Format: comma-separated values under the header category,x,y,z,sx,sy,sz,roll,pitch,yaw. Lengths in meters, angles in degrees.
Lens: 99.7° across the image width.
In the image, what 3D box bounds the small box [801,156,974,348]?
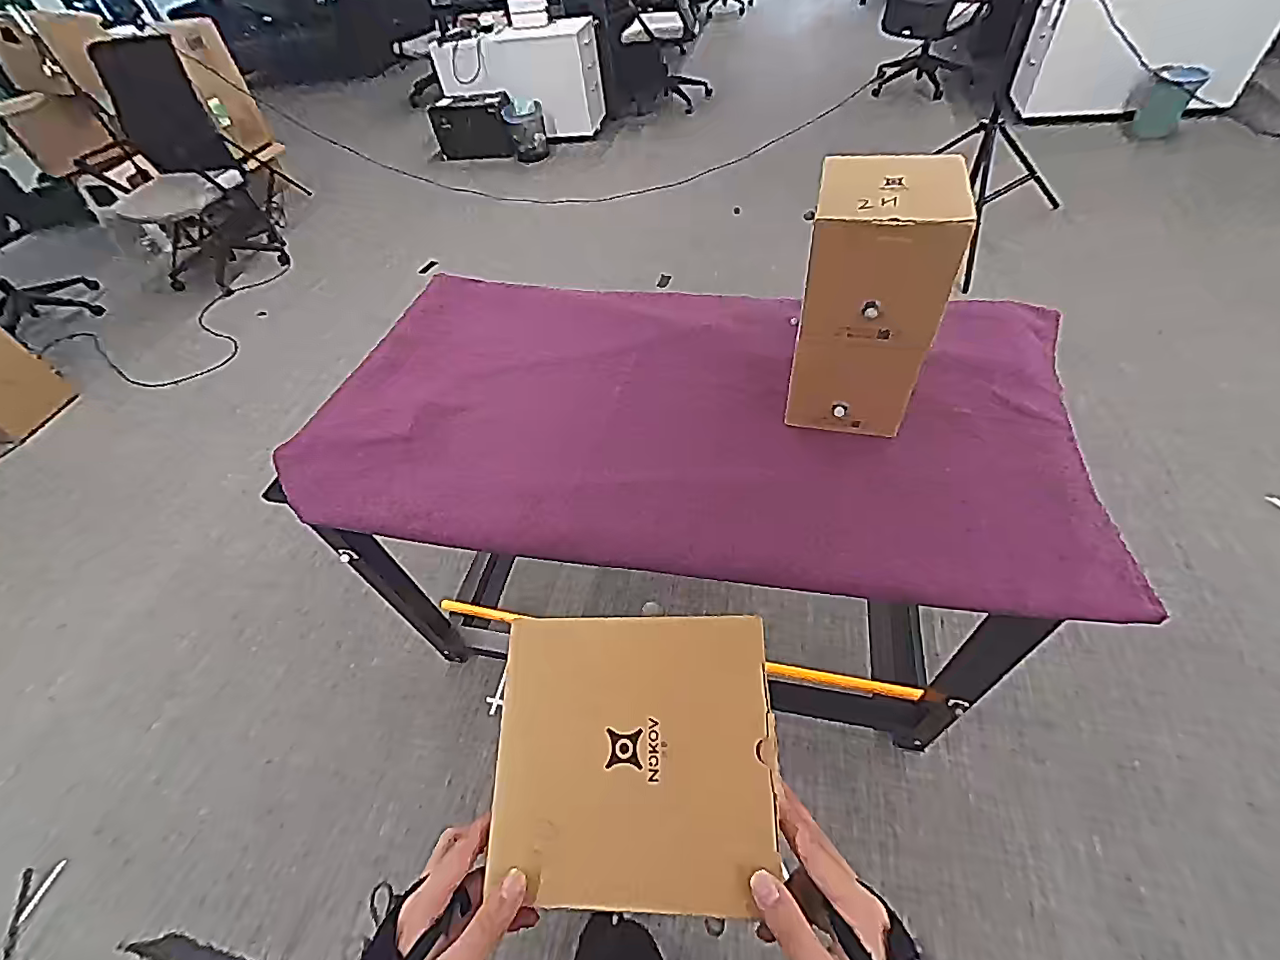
category,x,y,z,sx,sy,sz,roll,pitch,yaw
small box,0.307,-0.296,0.702,0.168,0.176,0.179,8,53,15

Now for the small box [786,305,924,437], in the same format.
category,x,y,z,sx,sy,sz,roll,pitch,yaw
small box,0.322,-0.192,0.830,0.168,0.176,0.179,9,53,15

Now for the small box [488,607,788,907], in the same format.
category,x,y,z,sx,sy,sz,roll,pitch,yaw
small box,0.008,0.197,0.410,0.179,0.176,0.168,-2,64,6
